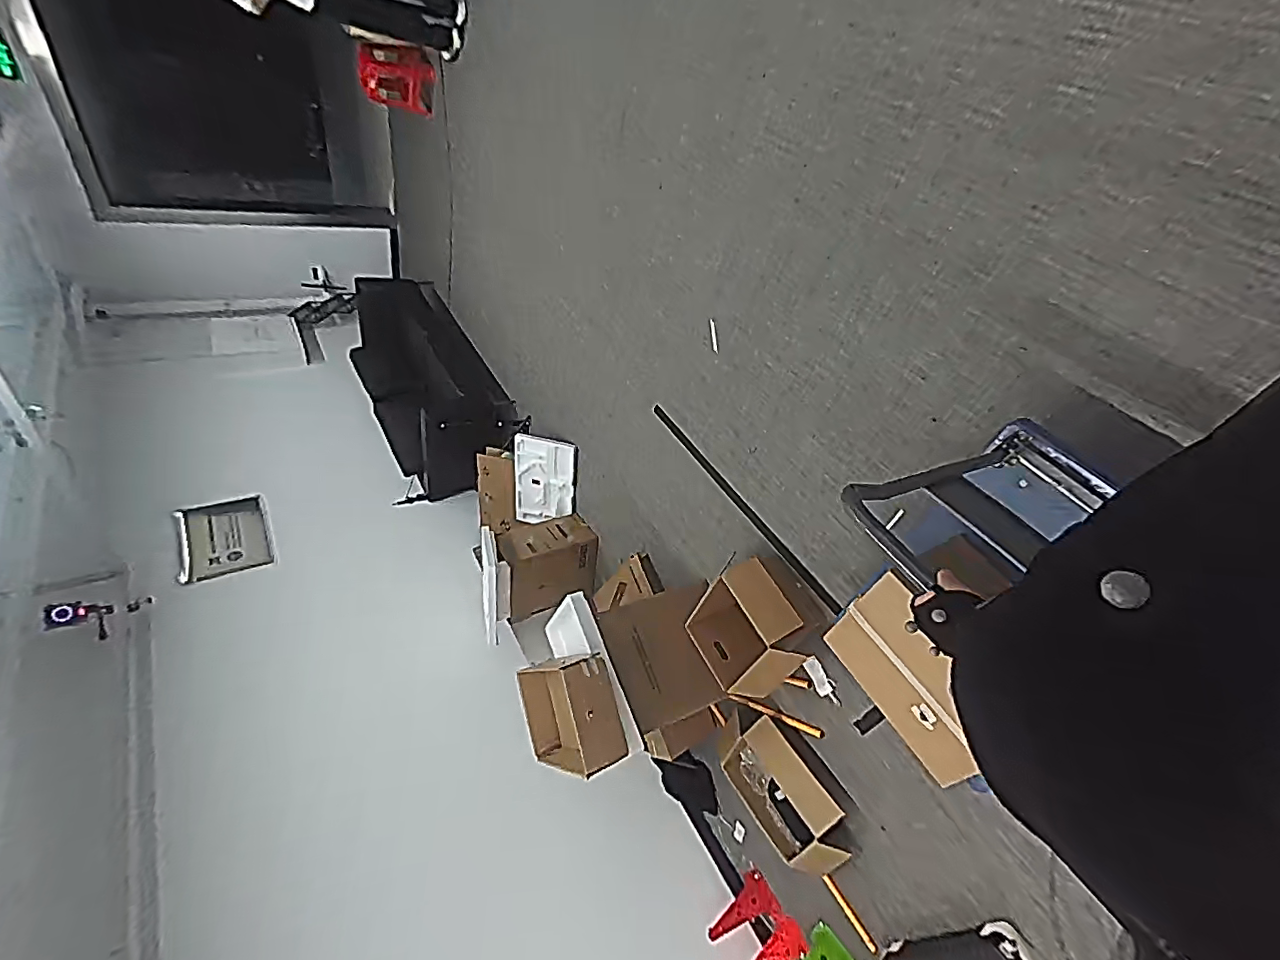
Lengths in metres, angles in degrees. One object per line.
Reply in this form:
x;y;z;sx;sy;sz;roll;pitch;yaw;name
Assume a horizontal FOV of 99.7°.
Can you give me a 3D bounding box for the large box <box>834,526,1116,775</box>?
0.758;0.380;1.272;0.408;0.320;0.320;53;143;31;large box
